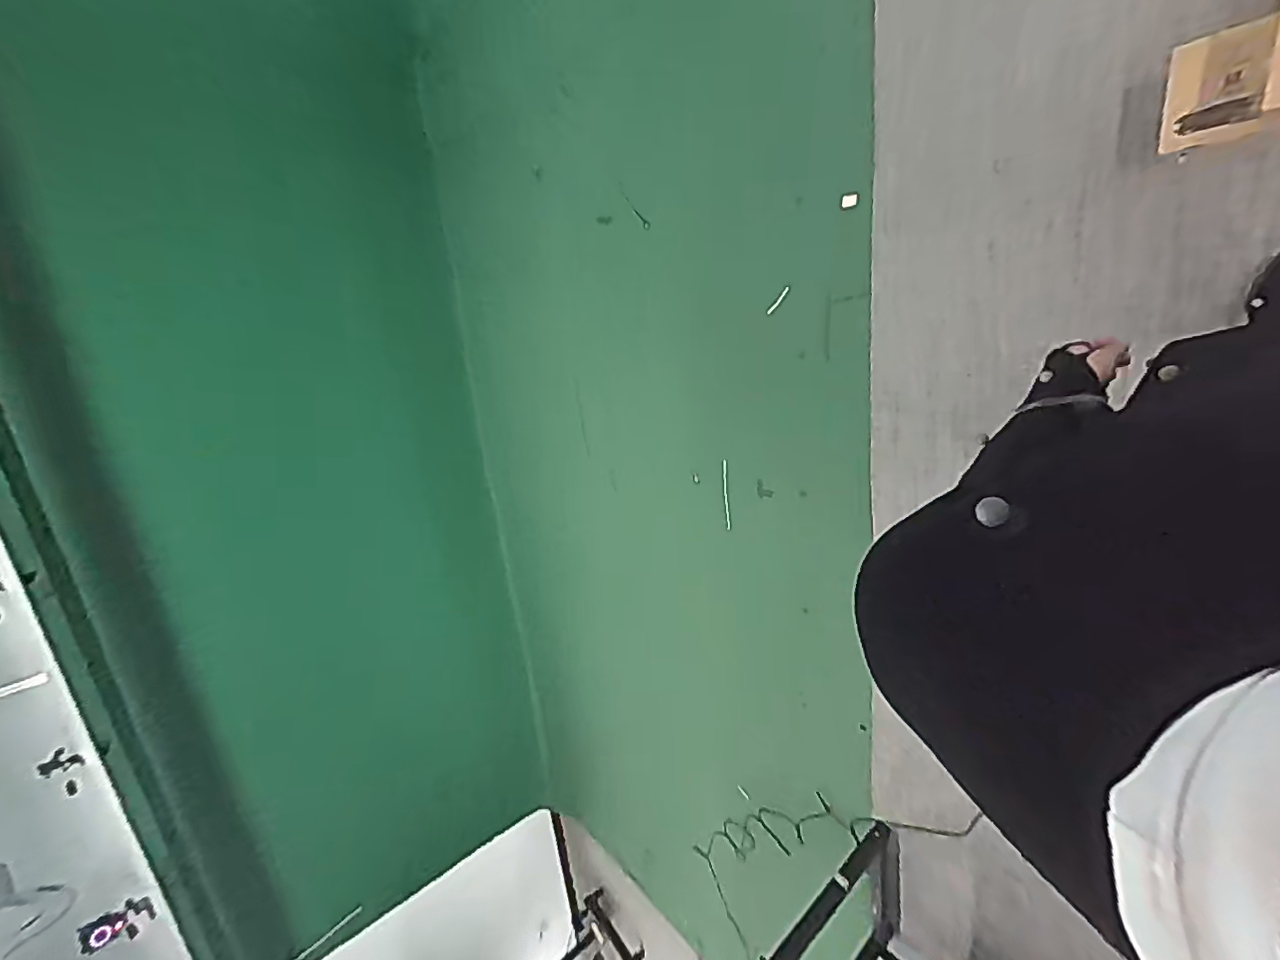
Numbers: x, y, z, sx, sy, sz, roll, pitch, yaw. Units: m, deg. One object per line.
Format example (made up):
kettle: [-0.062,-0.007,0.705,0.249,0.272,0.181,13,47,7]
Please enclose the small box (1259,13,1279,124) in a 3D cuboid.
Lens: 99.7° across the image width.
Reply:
small box: [1.039,-0.637,0.772,0.179,0.176,0.168,14,115,49]
